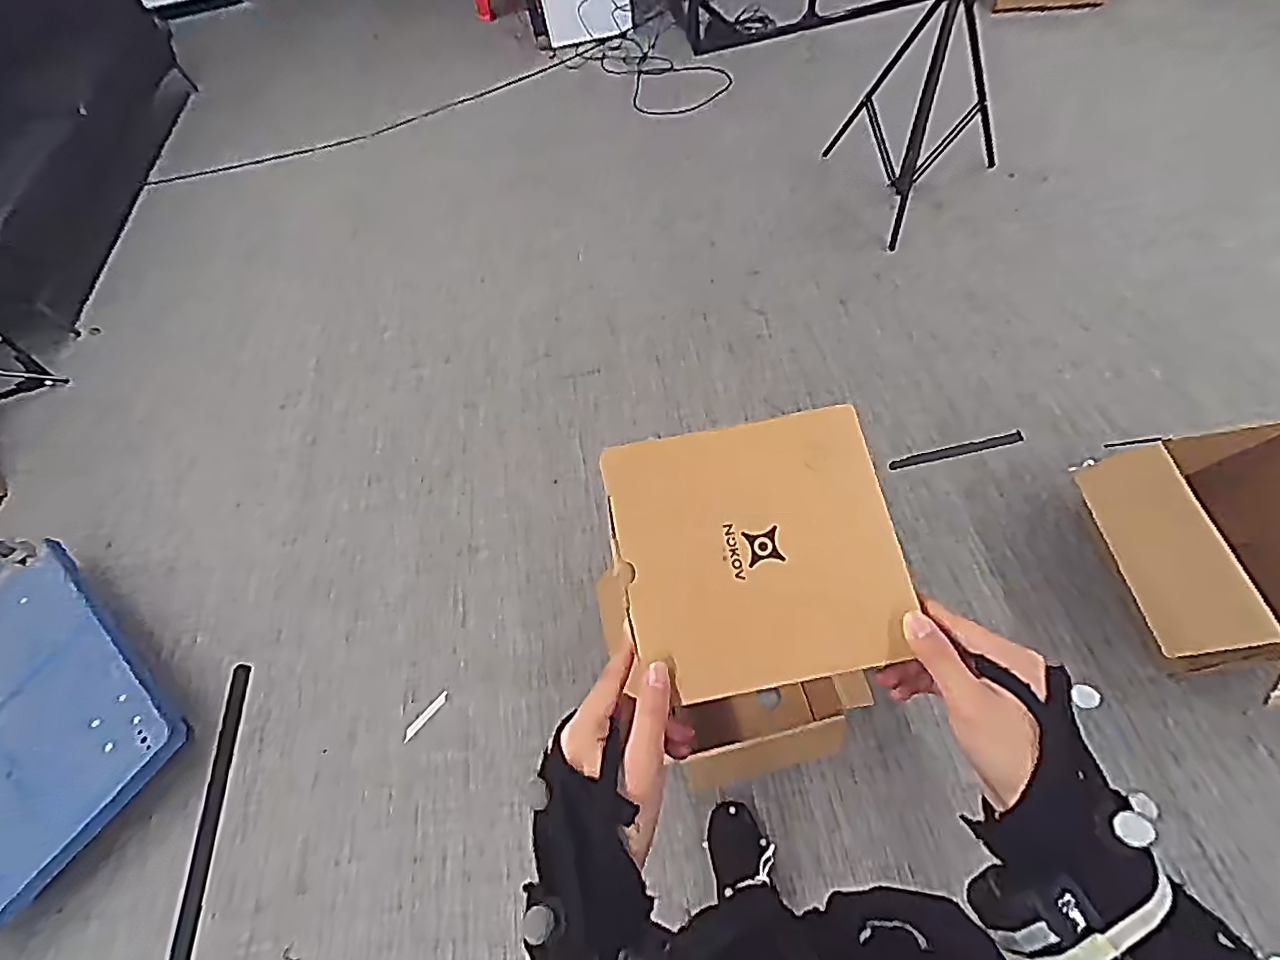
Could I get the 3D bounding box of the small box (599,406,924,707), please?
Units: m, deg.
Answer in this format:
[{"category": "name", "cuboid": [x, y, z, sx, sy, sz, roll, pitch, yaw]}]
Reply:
[{"category": "small box", "cuboid": [0.074, 0.063, 0.416, 0.179, 0.176, 0.168, -11, 74, 0]}]
